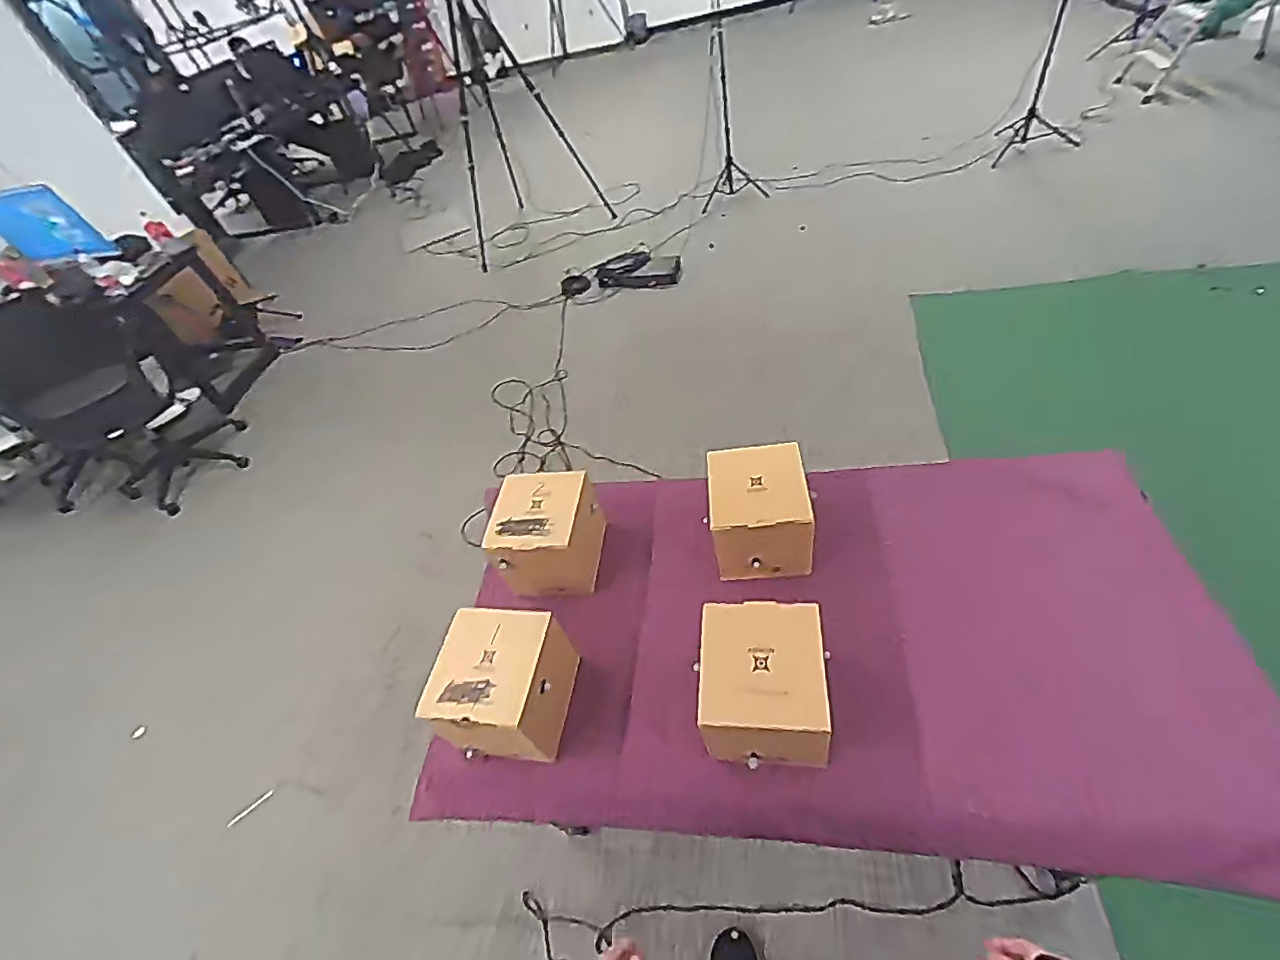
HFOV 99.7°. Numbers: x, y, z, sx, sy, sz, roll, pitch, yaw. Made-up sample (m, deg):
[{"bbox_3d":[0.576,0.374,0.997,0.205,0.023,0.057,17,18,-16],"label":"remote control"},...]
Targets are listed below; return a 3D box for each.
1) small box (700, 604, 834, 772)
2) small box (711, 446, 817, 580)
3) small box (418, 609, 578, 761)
[{"bbox_3d":[0.182,0.299,0.783,0.168,0.176,0.179,-3,48,14],"label":"small box"},{"bbox_3d":[0.219,0.062,0.983,0.168,0.176,0.179,-6,50,9],"label":"small box"},{"bbox_3d":[-0.210,0.326,0.859,0.168,0.176,0.179,0,48,14],"label":"small box"}]
